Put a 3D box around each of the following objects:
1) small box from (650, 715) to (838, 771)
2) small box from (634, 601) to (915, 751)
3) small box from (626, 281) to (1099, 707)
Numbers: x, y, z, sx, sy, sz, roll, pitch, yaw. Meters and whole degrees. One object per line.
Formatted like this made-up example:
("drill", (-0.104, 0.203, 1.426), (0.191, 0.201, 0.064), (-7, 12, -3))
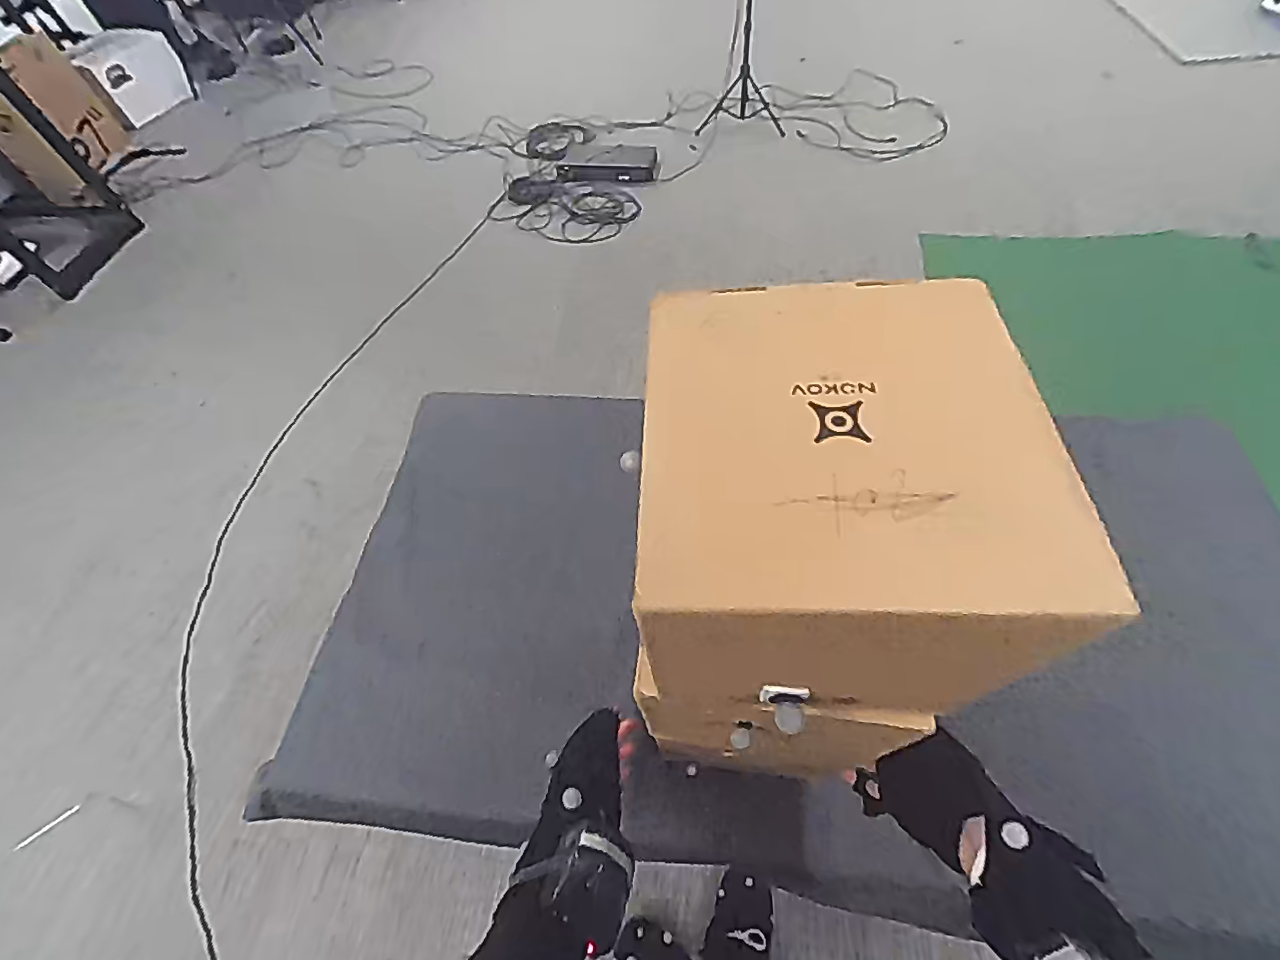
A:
("small box", (0.108, 0.197, 0.574), (0.168, 0.176, 0.179), (3, 55, 8))
("small box", (0.096, 0.112, 0.438), (0.179, 0.176, 0.168), (1, 55, 6))
("small box", (0.086, 0.016, 0.304), (0.168, 0.176, 0.179), (-2, 57, 6))
